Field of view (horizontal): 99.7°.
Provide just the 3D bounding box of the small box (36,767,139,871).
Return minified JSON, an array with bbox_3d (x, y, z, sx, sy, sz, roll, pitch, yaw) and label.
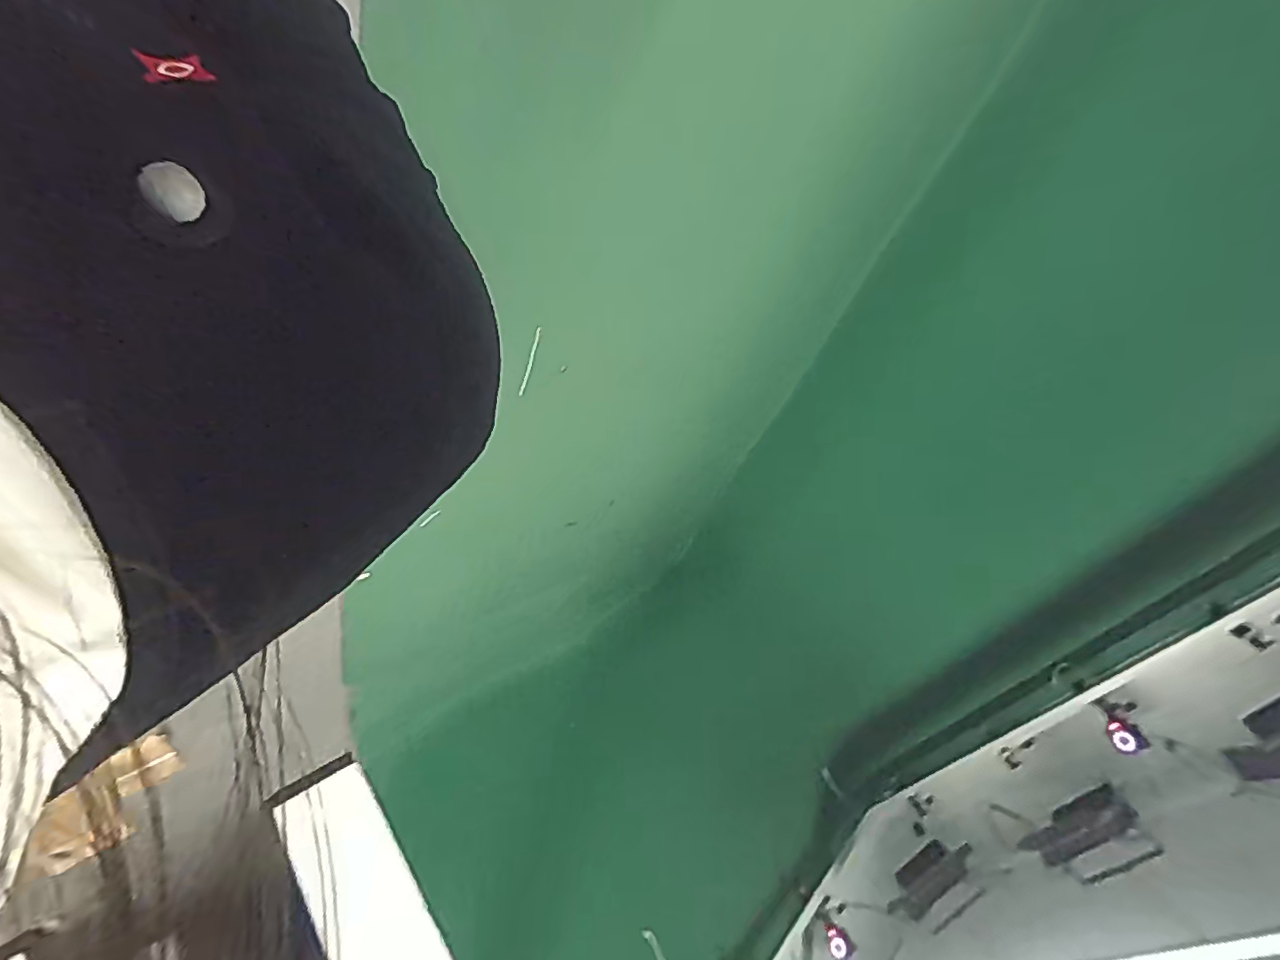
[{"bbox_3d":[-1.637,0.997,1.601,0.179,0.176,0.168,-21,147,-42],"label":"small box"}]
